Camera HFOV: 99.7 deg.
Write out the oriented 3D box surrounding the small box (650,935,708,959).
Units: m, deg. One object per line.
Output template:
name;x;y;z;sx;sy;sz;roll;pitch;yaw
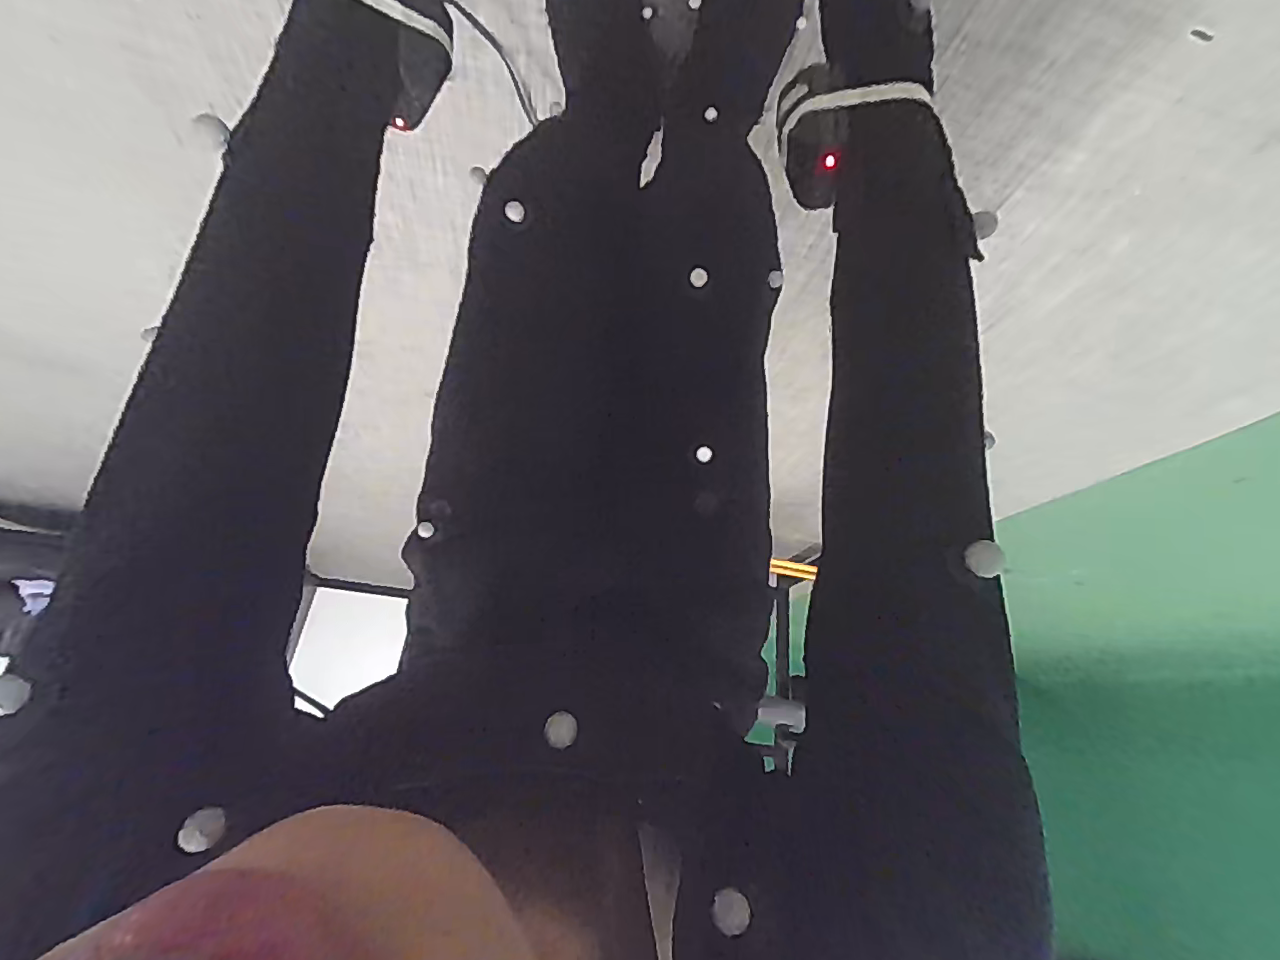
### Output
small box;0.121;1.616;1.756;0.168;0.176;0.179;9;157;-5
